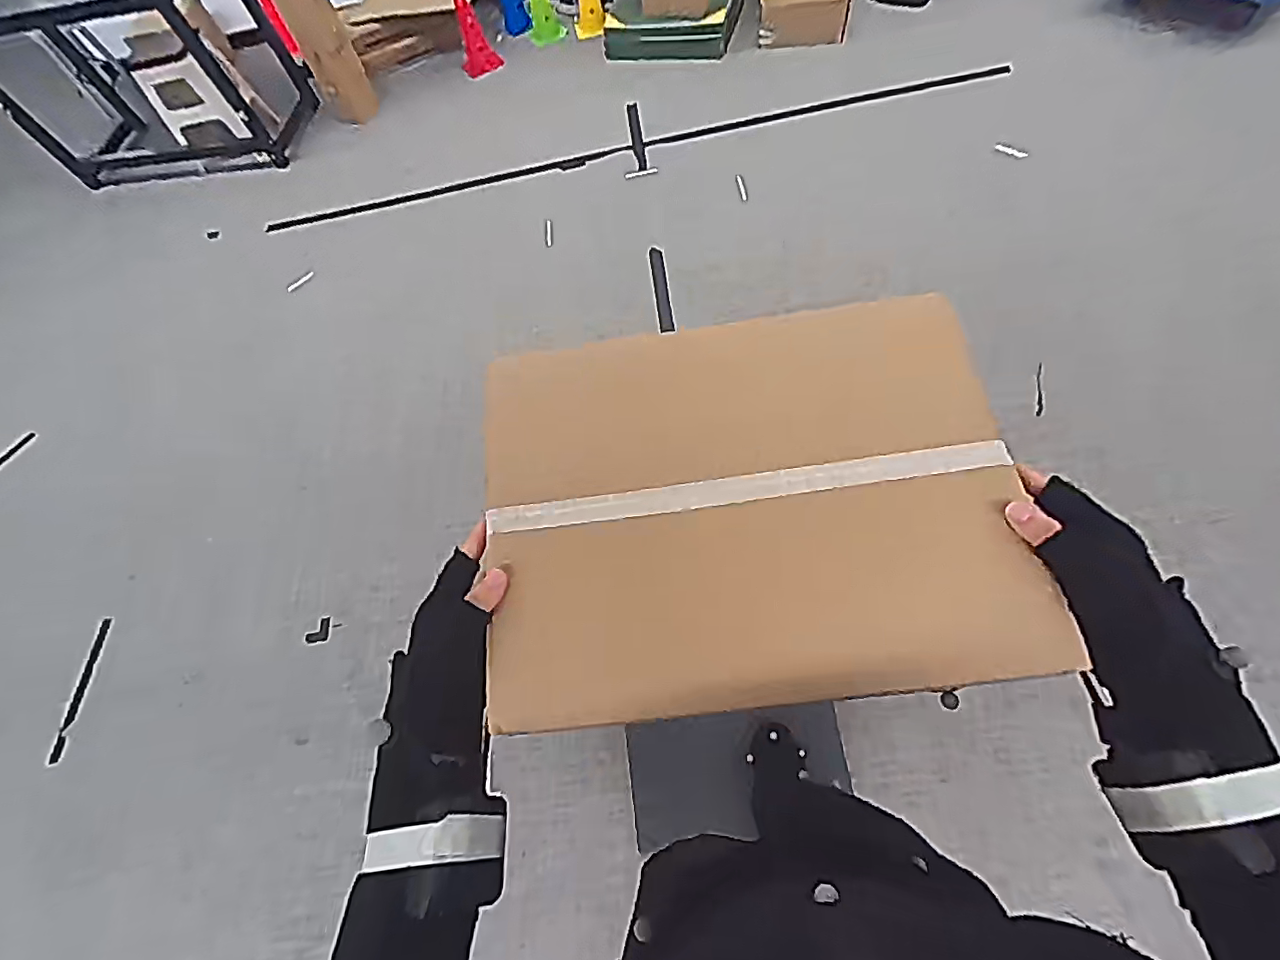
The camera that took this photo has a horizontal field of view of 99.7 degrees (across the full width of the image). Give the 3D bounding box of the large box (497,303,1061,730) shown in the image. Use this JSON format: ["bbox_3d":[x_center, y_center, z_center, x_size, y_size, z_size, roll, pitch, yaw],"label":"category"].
[{"bbox_3d":[0.098,0.063,0.575,0.408,0.320,0.320,-8,68,3],"label":"large box"}]

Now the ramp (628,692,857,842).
[{"bbox_3d":[0.181,0.312,1.357,0.509,0.206,0.991,-10,63,3],"label":"ramp"}]
